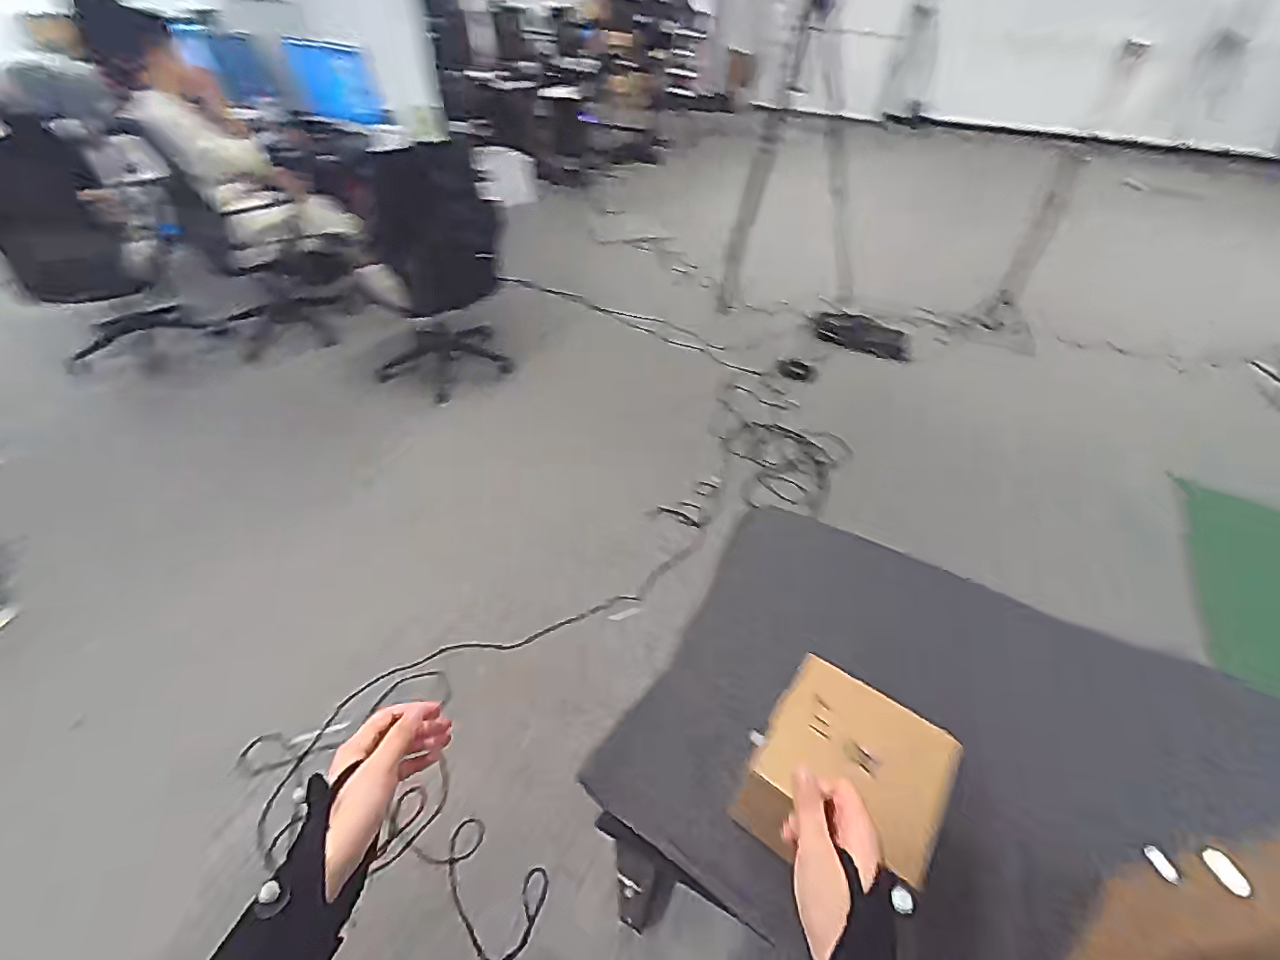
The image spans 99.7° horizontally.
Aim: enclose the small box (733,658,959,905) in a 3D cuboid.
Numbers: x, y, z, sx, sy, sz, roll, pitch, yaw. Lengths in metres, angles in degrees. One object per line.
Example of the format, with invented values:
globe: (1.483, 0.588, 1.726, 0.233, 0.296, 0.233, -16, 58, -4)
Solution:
small box: (0.229, 0.354, 0.633, 0.179, 0.176, 0.168, 28, 50, 25)
